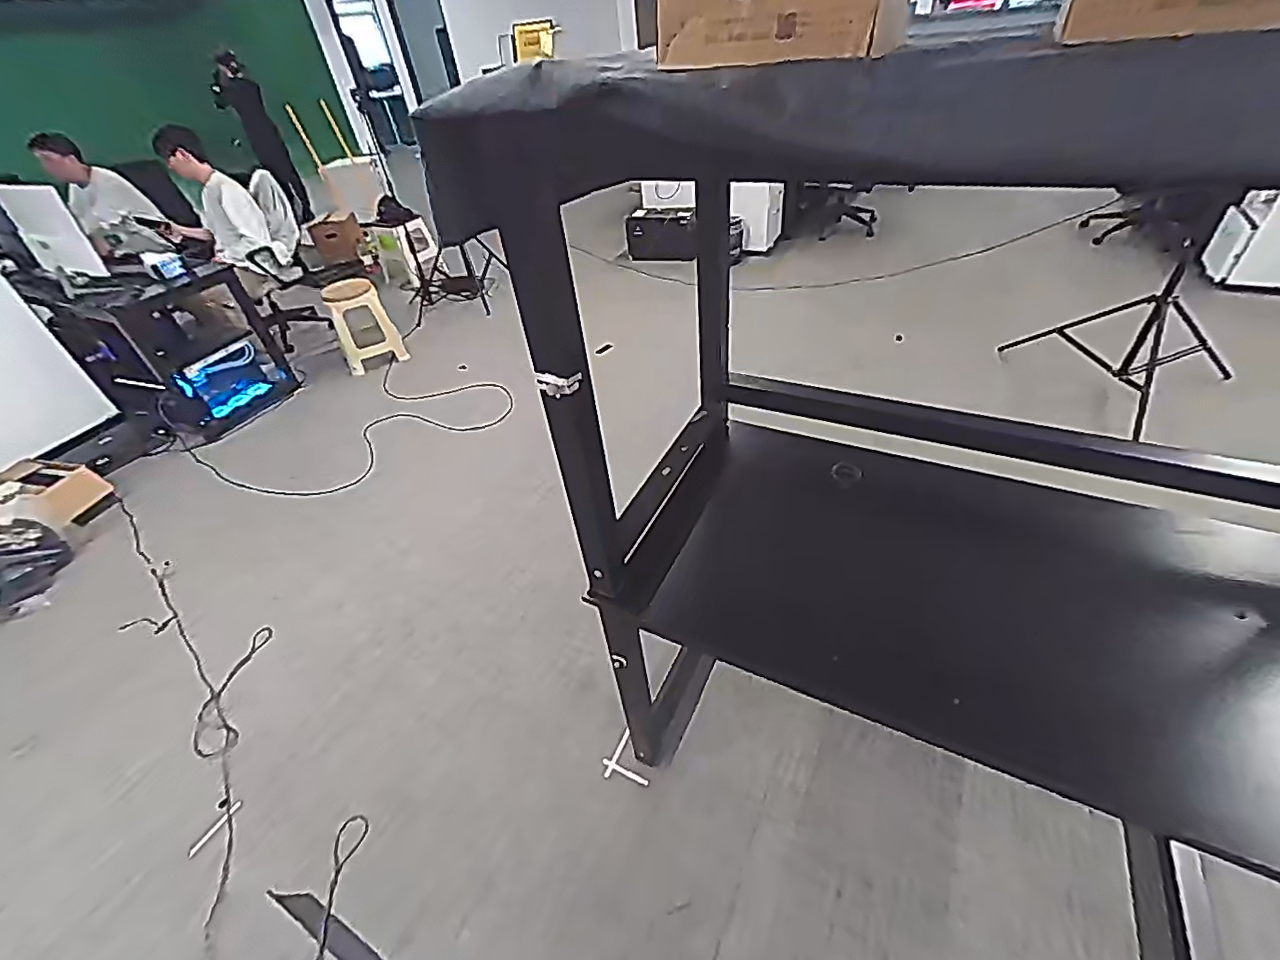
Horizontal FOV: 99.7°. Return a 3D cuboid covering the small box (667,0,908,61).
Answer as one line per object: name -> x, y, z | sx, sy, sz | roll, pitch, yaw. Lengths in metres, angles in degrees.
small box -> 0.121, -0.429, 0.407 | 0.168, 0.176, 0.179 | 15, 44, 22

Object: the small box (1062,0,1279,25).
small box -> 0.362, -0.365, 0.297 | 0.168, 0.176, 0.179 | 16, 44, 25
